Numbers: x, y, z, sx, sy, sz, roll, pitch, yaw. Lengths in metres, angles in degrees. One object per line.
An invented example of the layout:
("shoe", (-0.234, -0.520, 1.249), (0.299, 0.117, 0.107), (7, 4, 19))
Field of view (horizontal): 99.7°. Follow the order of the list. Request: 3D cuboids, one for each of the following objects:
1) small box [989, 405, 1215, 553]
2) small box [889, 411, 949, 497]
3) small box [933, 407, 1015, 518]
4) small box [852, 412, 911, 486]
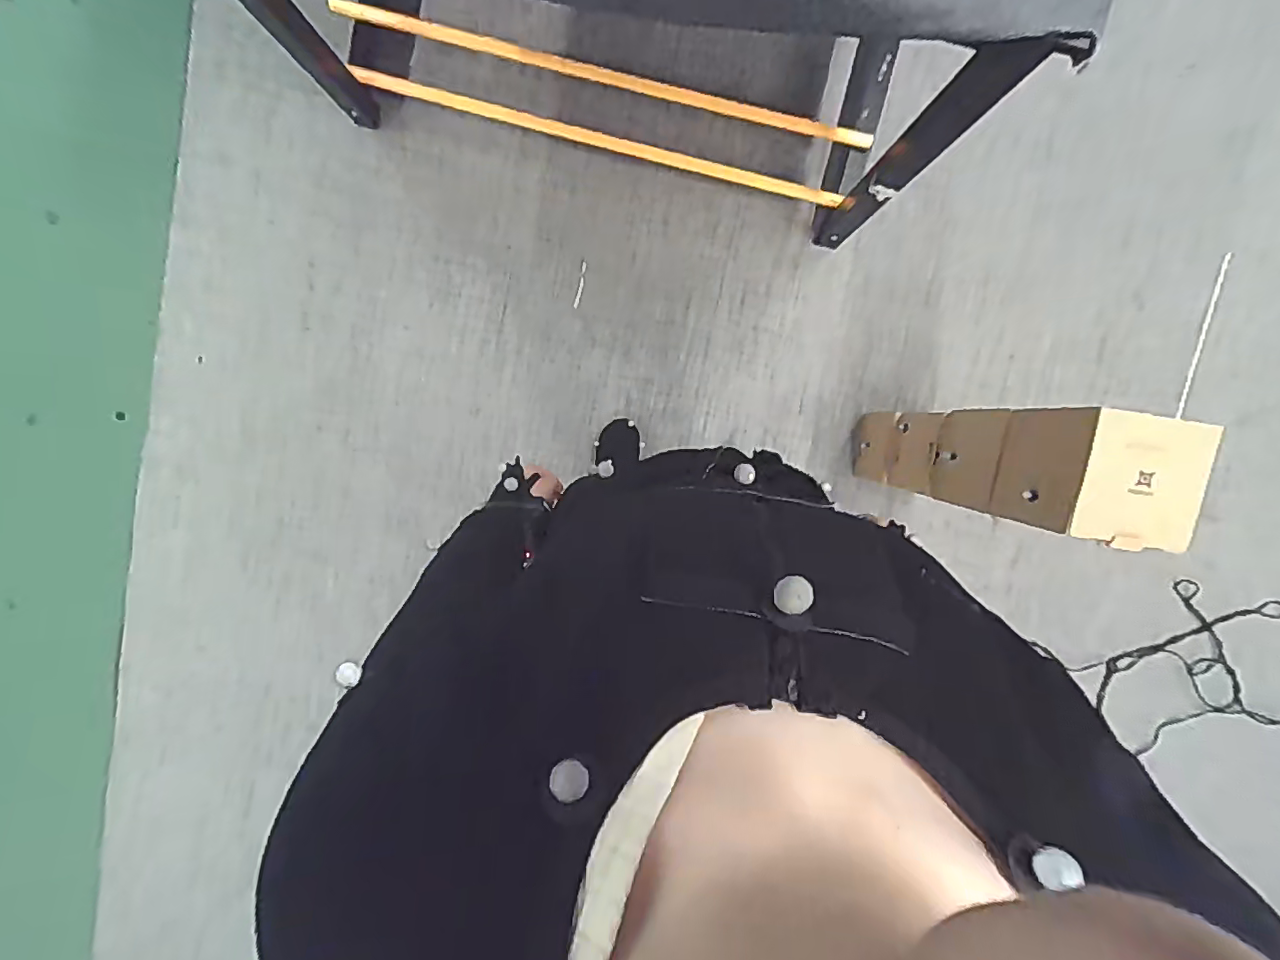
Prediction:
("small box", (0.649, -0.008, 0.784), (0.168, 0.176, 0.179), (9, 96, -2))
("small box", (0.640, -0.047, 1.109), (0.179, 0.176, 0.168), (8, 96, -2))
("small box", (0.645, -0.029, 0.946), (0.168, 0.176, 0.179), (8, 97, -1))
("small box", (0.628, -0.067, 1.271), (0.179, 0.176, 0.168), (7, 95, -1))
